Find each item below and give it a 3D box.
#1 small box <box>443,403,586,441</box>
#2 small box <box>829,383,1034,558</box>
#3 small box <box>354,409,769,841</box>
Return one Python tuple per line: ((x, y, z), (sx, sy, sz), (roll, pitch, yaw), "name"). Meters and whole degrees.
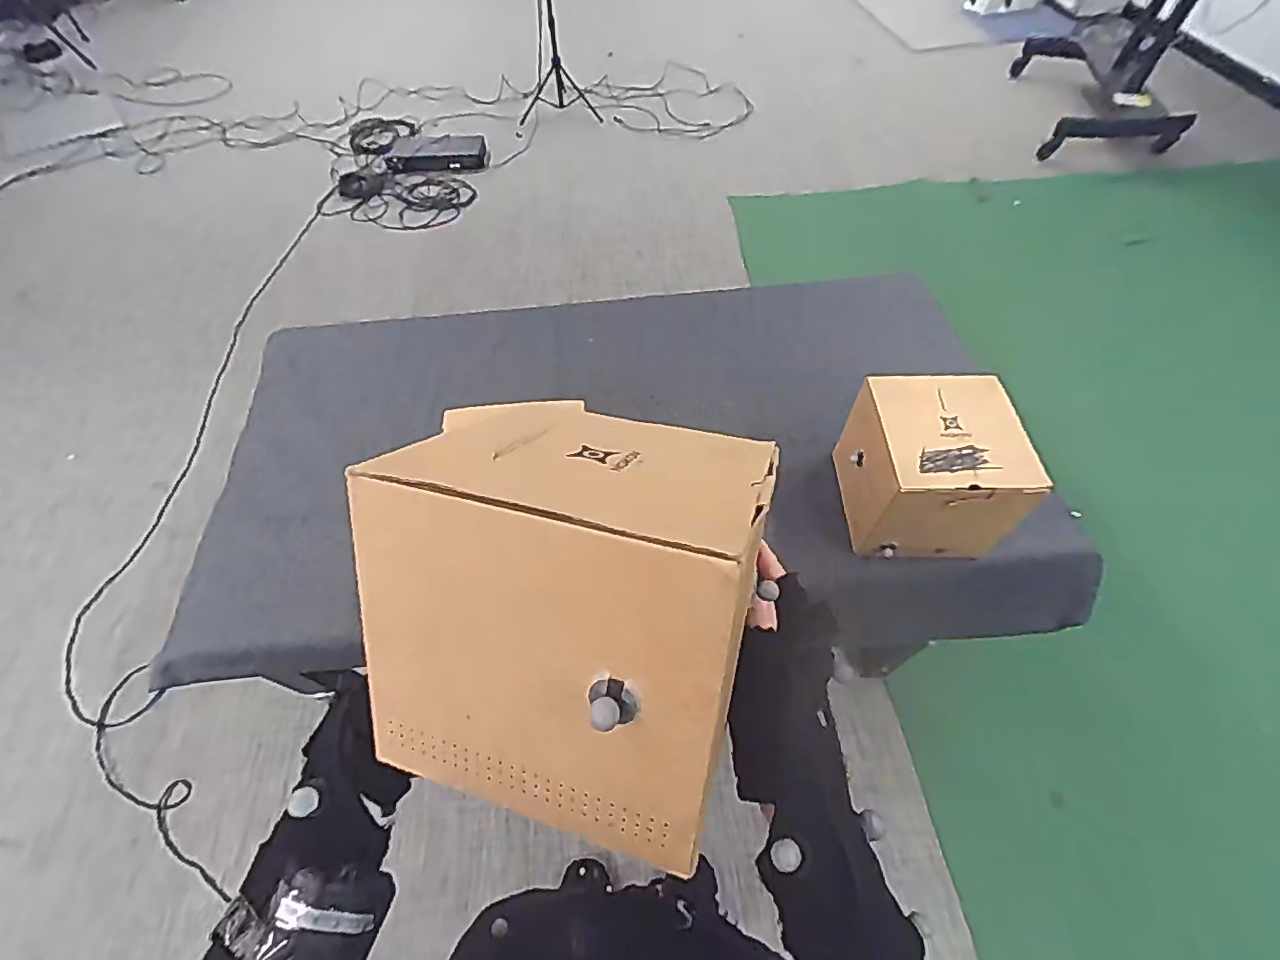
((-0.150, 0.021, 0.706), (0.179, 0.176, 0.168), (-4, 55, -2), "small box")
((0.364, -0.008, 0.717), (0.168, 0.176, 0.179), (1, 55, 2), "small box")
((-0.031, 0.066, 0.320), (0.179, 0.176, 0.168), (10, 20, 15), "small box")
